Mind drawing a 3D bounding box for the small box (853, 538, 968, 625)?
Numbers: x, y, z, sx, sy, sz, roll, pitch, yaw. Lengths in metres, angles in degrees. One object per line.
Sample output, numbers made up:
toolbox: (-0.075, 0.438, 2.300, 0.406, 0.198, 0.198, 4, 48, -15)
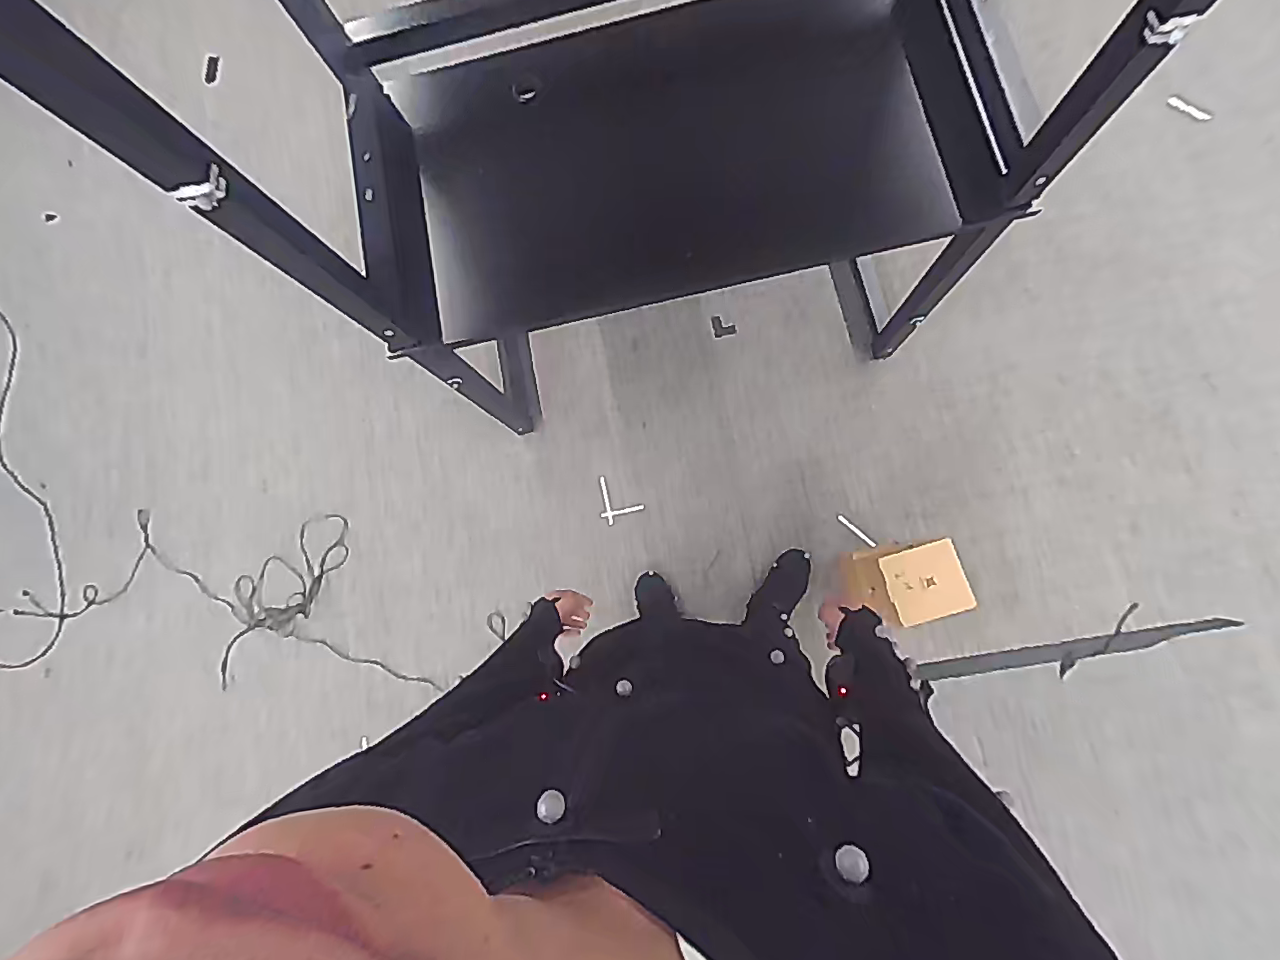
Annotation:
small box: (0.652, 0.242, 1.326, 0.179, 0.176, 0.168, -17, 81, 4)
